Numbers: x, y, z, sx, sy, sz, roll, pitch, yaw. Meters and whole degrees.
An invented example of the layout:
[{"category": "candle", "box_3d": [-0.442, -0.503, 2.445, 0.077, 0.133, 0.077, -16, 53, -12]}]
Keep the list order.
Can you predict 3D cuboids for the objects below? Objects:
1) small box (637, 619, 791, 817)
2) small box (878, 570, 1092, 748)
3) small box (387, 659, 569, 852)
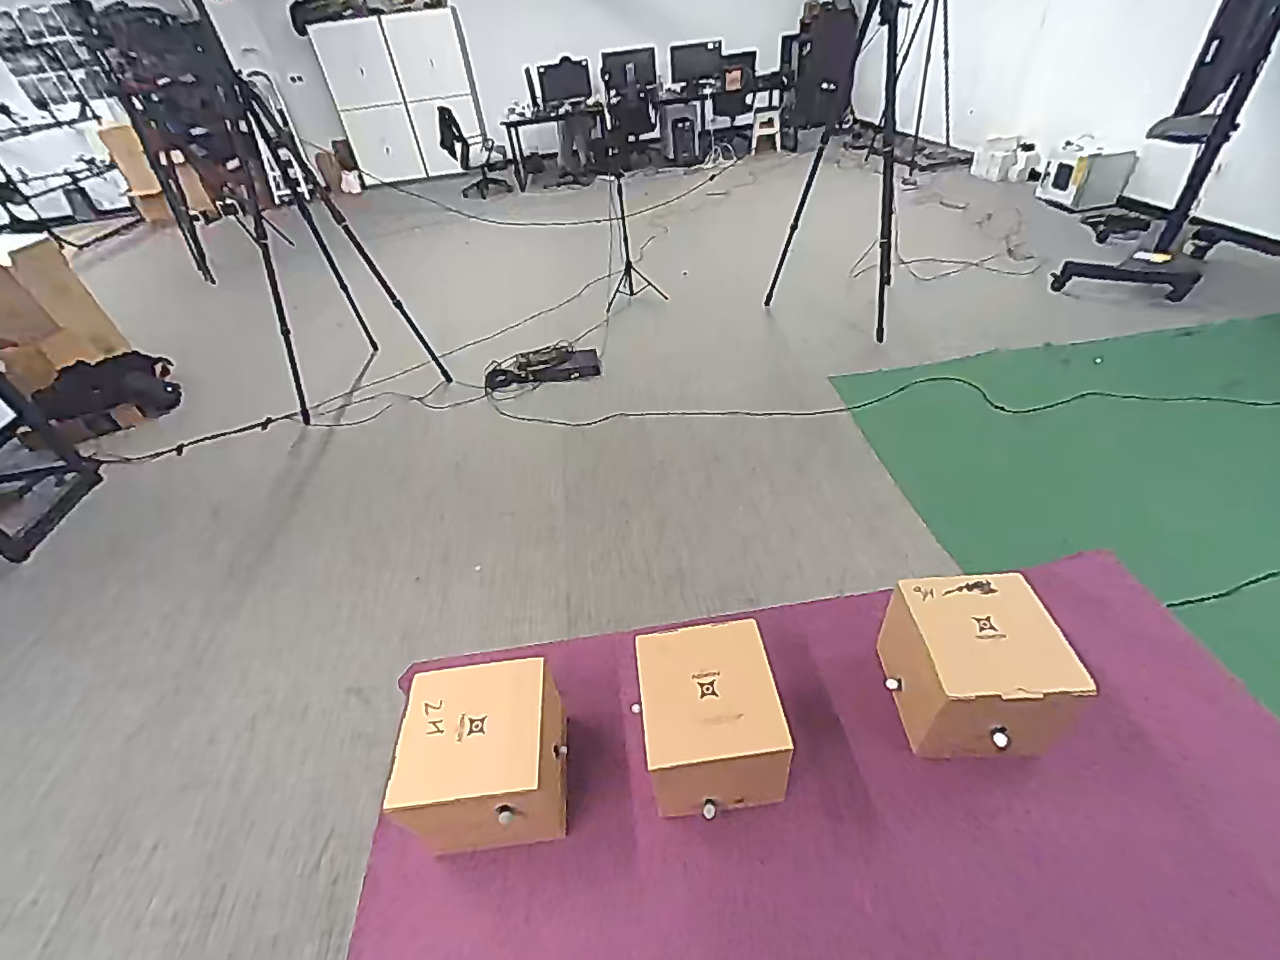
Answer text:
[{"category": "small box", "box_3d": [0.091, 0.314, 0.717, 0.168, 0.176, 0.179, -9, 41, 1]}, {"category": "small box", "box_3d": [0.441, 0.245, 0.728, 0.168, 0.176, 0.179, -4, 41, 5]}, {"category": "small box", "box_3d": [-0.193, 0.362, 0.709, 0.179, 0.176, 0.168, -8, 40, 0]}]
